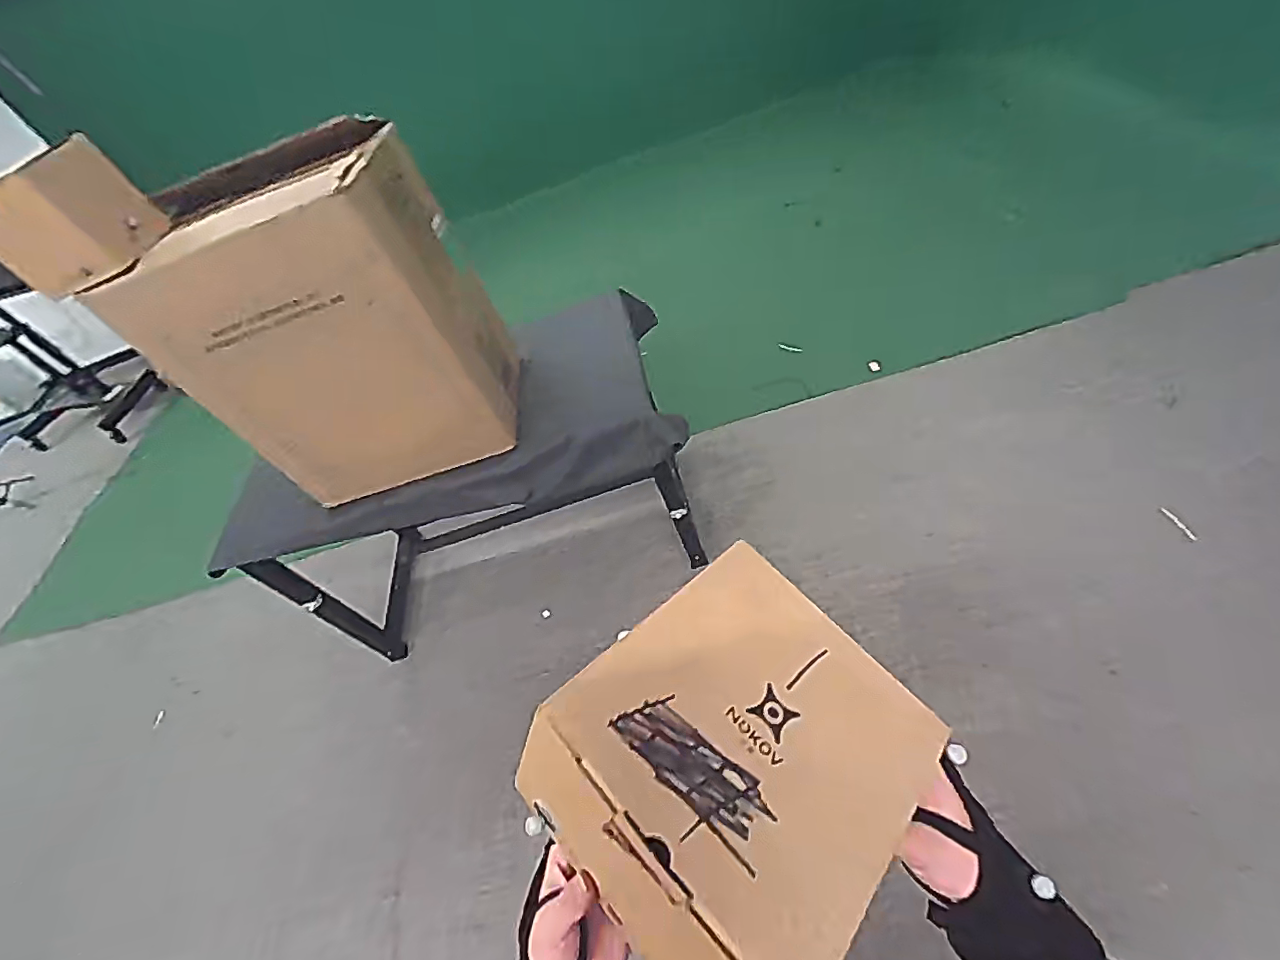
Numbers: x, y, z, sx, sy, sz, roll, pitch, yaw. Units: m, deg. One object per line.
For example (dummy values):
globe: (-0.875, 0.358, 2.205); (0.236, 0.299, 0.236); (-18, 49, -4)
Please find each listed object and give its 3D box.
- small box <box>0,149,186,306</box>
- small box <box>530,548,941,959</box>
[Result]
small box: (-0.956, -0.436, 0.944); (0.168, 0.176, 0.179); (-17, 46, 11)
small box: (0.044, 0.185, 0.351); (0.168, 0.176, 0.179); (43, 51, 20)
